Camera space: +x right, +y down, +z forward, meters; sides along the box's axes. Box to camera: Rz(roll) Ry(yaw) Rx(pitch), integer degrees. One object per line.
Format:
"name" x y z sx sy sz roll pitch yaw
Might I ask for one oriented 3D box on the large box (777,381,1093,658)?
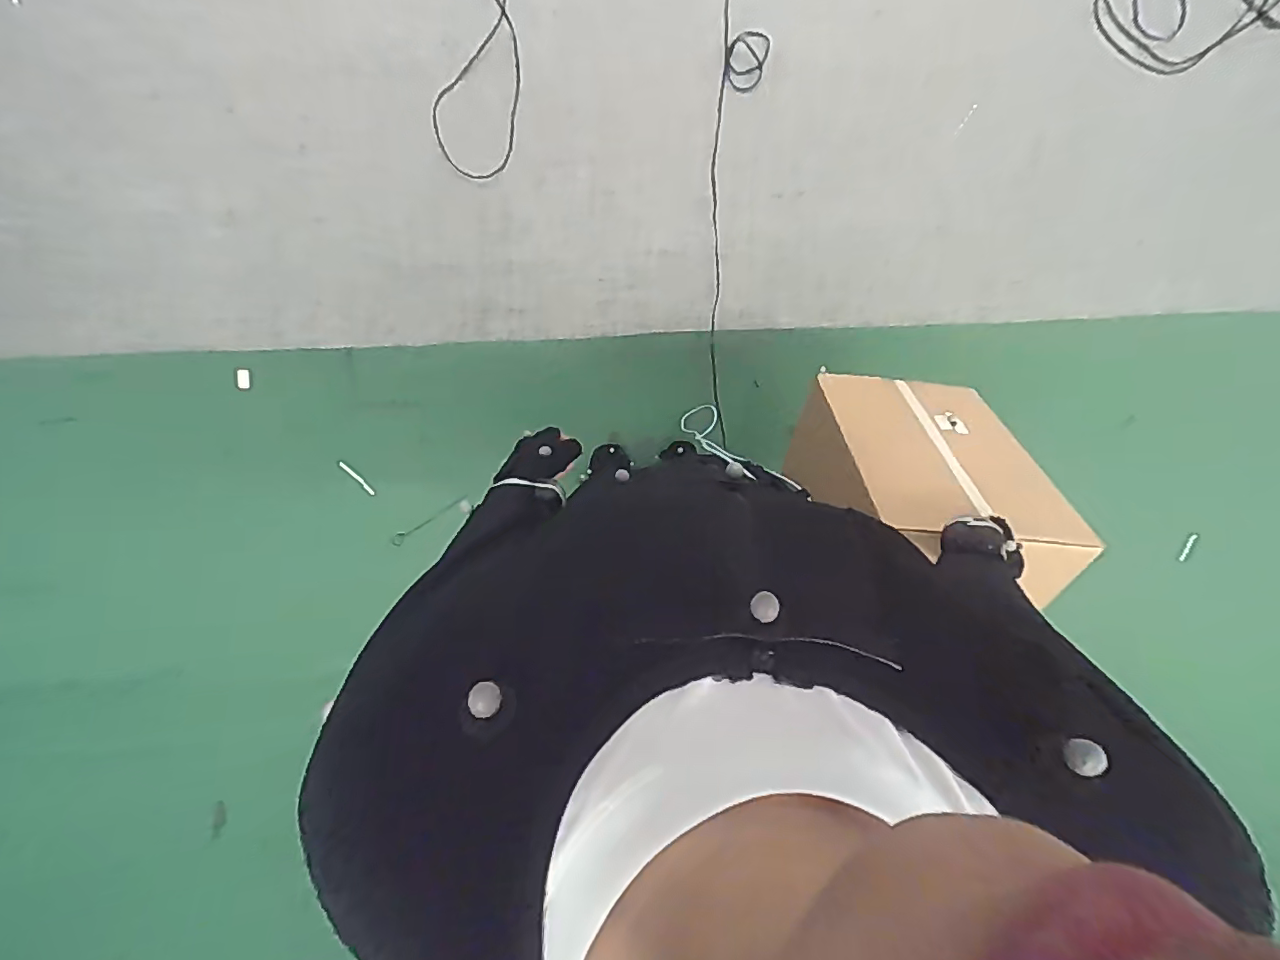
"large box" 0.467 0.065 0.985 0.320 0.408 0.320 5 131 -3
